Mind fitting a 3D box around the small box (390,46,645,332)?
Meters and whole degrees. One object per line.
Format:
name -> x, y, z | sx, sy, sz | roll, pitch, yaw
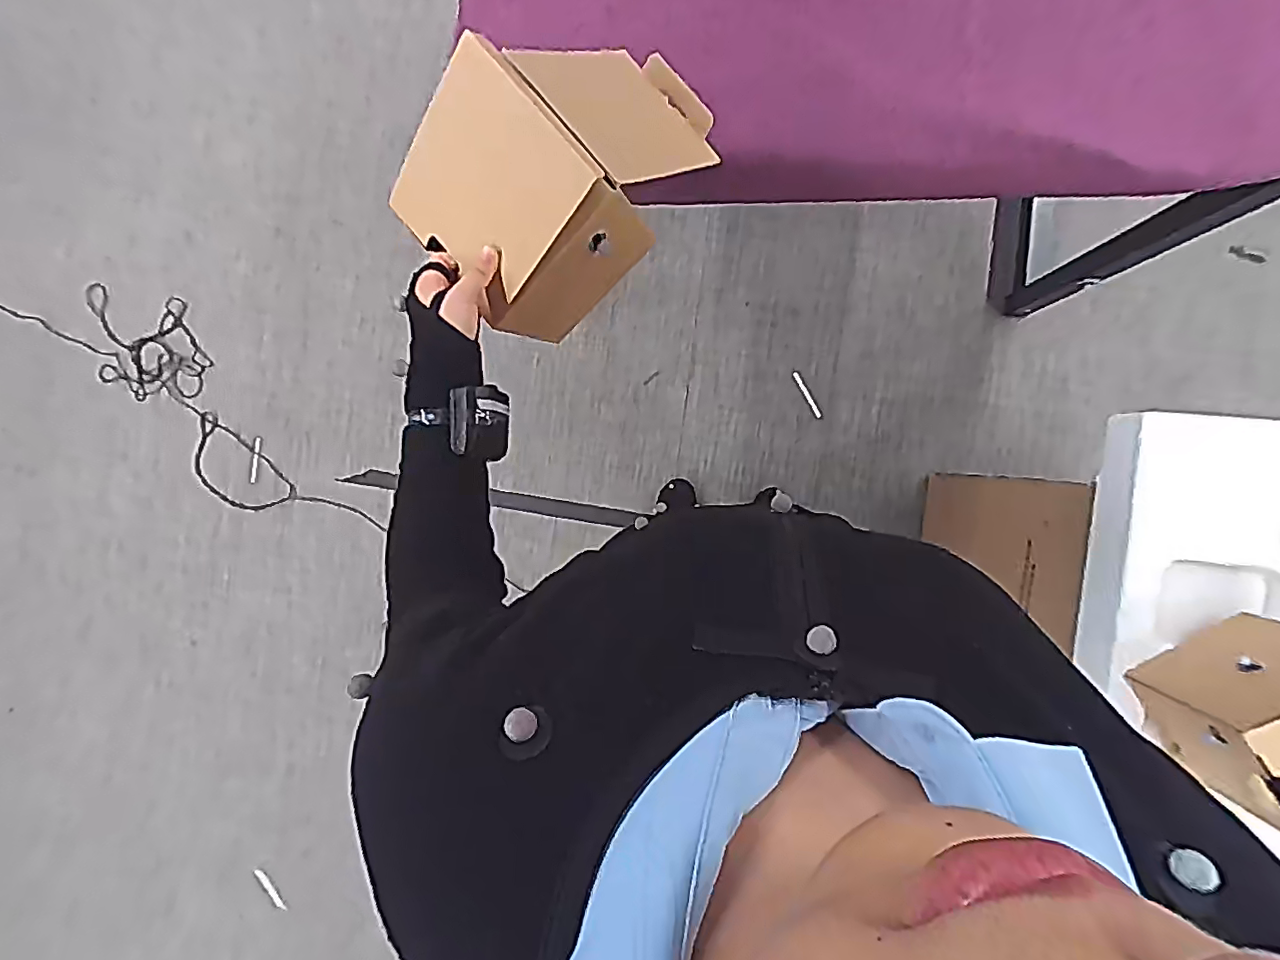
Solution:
small box -> -0.112, -0.282, 0.574 | 0.179, 0.176, 0.168 | -41, 87, 16
